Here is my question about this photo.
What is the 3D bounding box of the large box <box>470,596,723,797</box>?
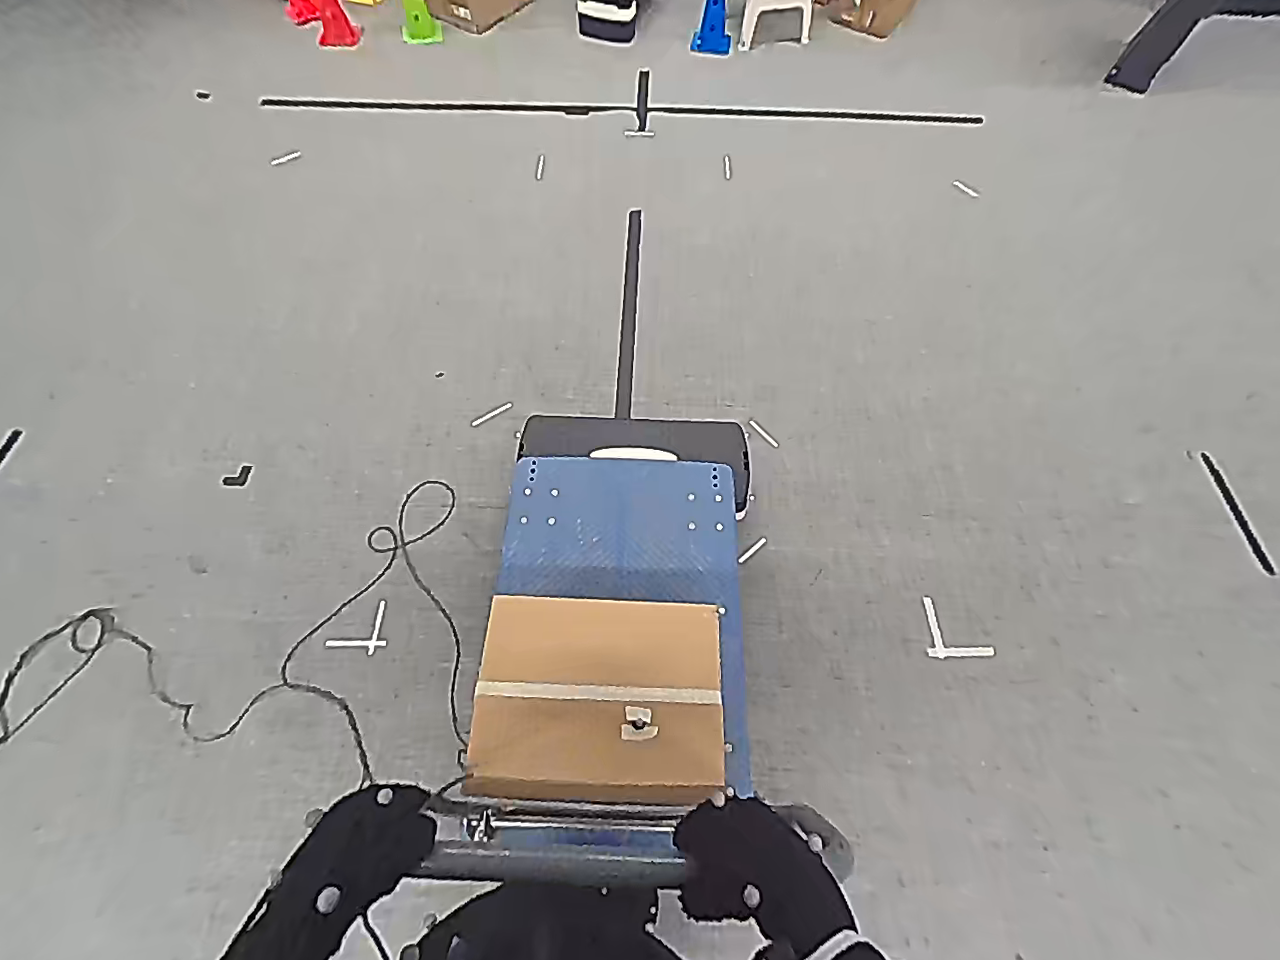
[{"bbox_3d":[-0.073,0.427,1.044,0.408,0.320,0.320,3,61,-1],"label":"large box"}]
